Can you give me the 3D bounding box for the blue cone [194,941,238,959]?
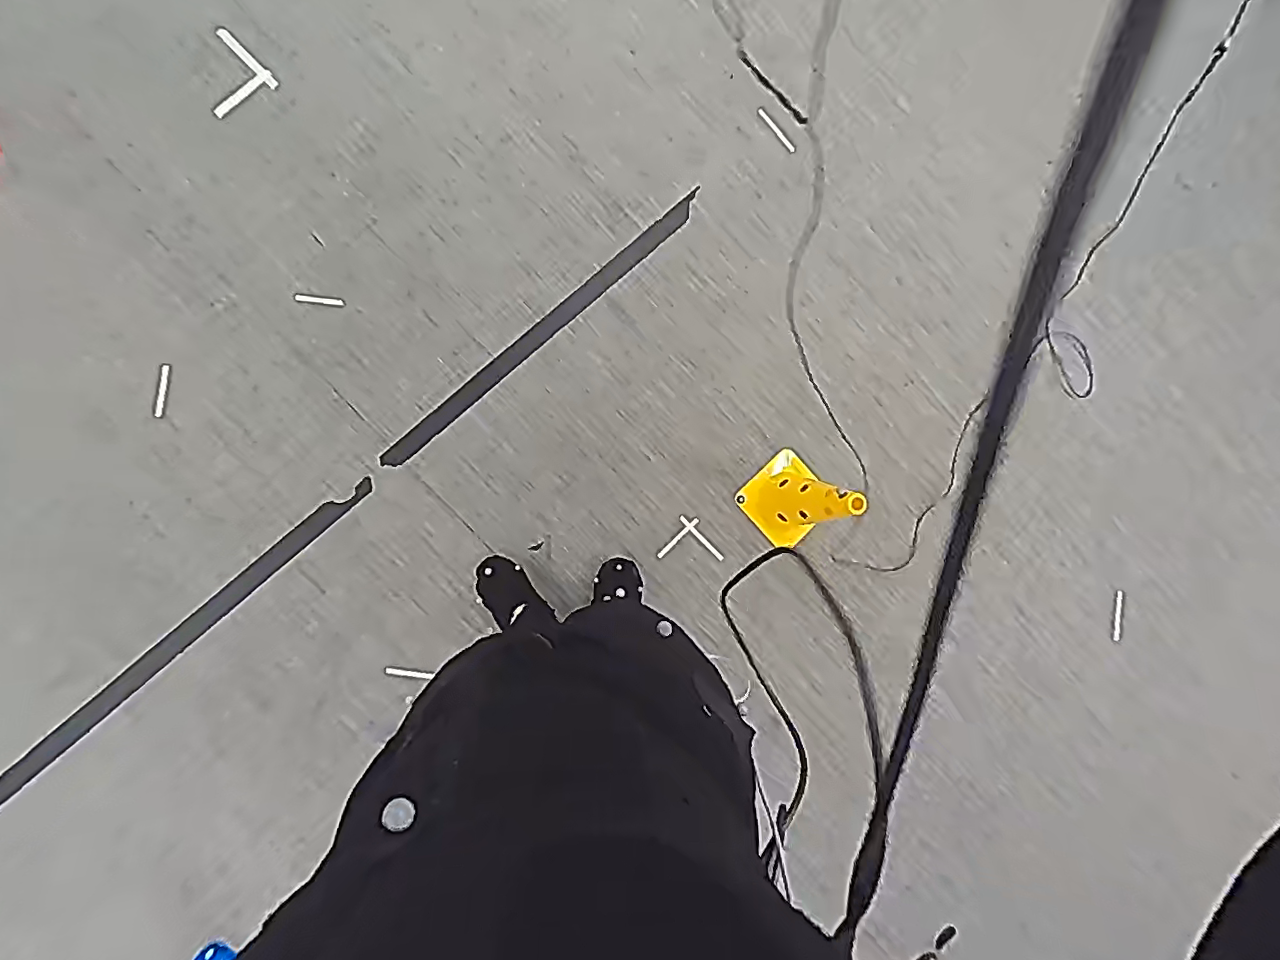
[{"bbox_3d":[-0.926,1.139,1.029,0.192,0.380,0.193,42,85,-4],"label":"blue cone"}]
